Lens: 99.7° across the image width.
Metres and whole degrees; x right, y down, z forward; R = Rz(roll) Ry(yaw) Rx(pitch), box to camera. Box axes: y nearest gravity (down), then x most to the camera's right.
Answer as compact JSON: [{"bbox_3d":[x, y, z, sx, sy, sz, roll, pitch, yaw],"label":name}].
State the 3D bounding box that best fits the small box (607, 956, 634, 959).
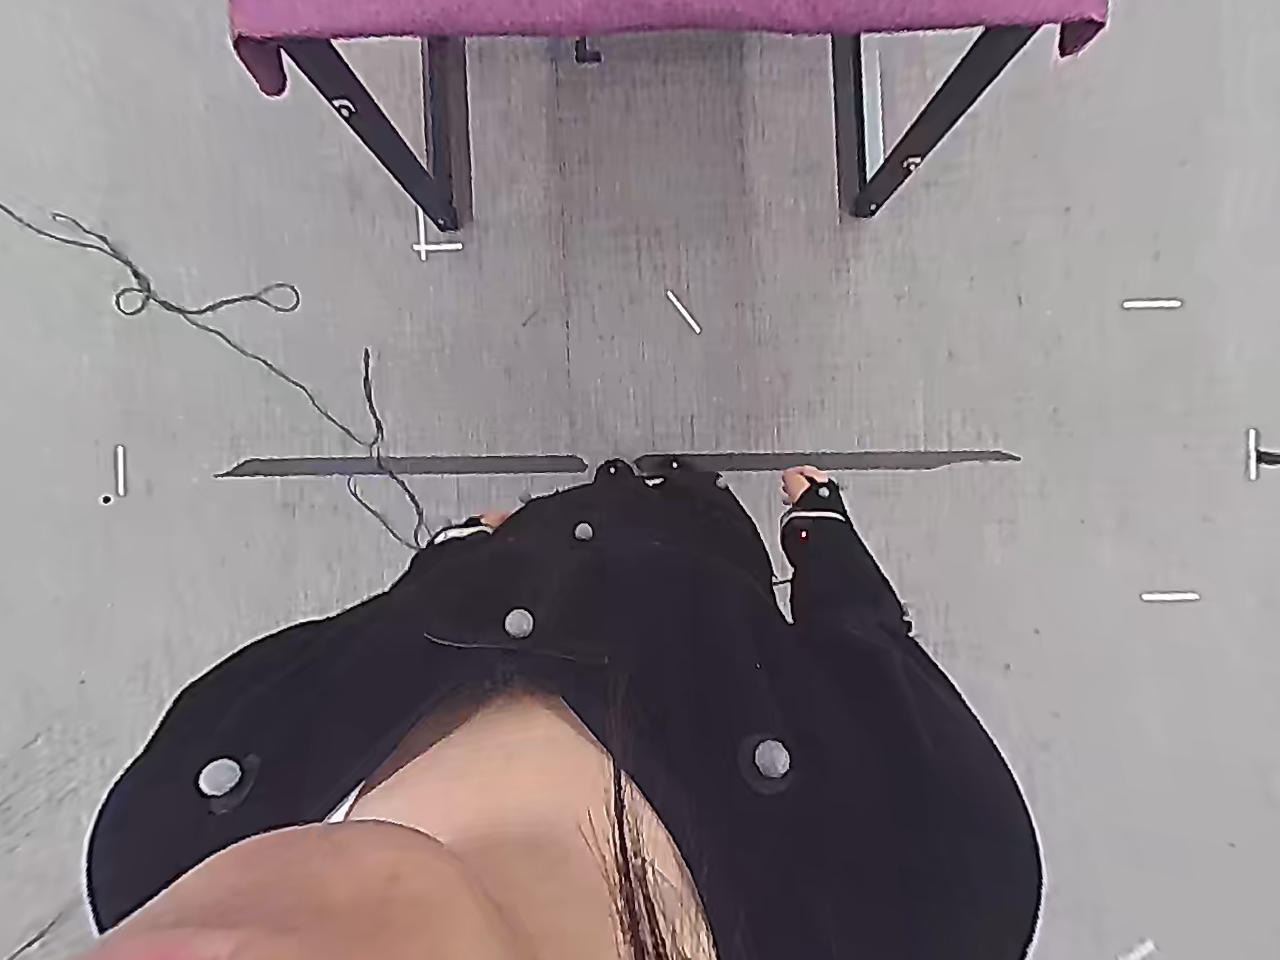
[{"bbox_3d":[-0.075,1.410,1.412,0.168,0.176,0.179,-10,91,0],"label":"small box"}]
